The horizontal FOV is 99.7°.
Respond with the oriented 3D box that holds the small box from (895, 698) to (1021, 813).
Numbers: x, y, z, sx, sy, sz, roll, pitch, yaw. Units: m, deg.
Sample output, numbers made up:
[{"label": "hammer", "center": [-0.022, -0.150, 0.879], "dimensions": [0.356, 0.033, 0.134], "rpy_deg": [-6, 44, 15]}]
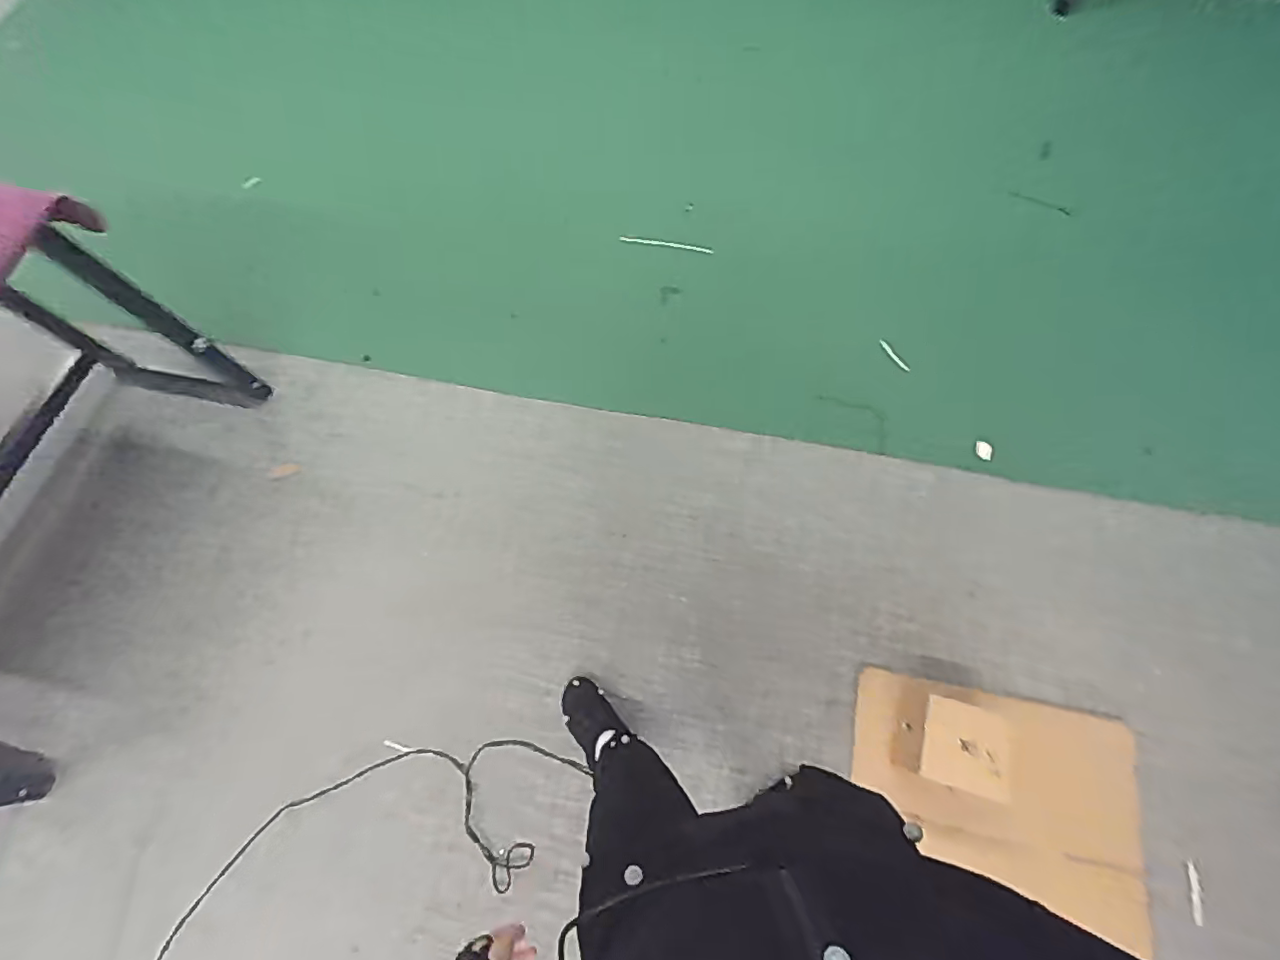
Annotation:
[{"label": "small box", "center": [0.673, 0.581, 1.161], "dimensions": [0.179, 0.176, 0.168], "rpy_deg": [16, 71, 10]}]
